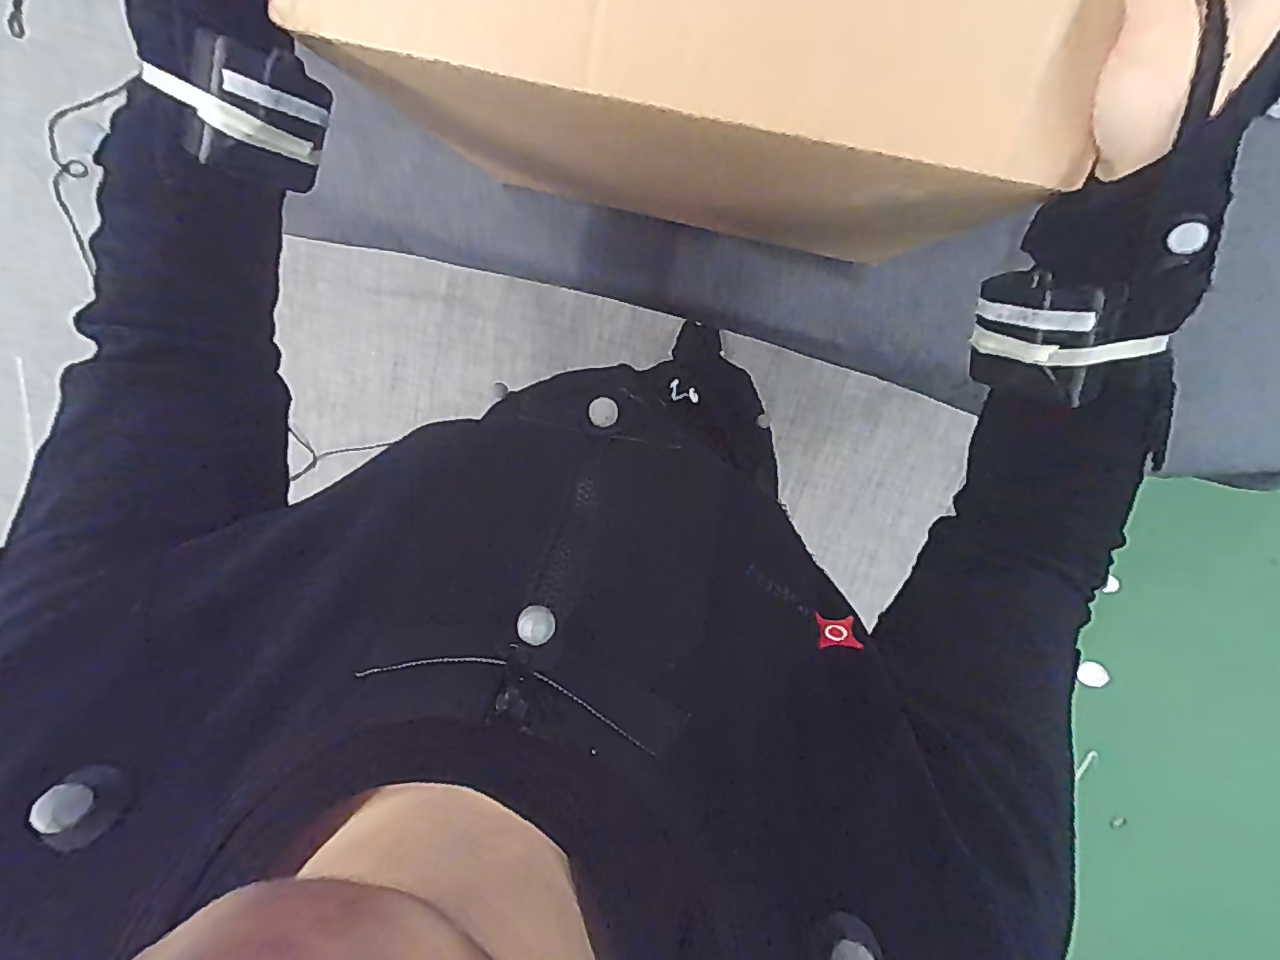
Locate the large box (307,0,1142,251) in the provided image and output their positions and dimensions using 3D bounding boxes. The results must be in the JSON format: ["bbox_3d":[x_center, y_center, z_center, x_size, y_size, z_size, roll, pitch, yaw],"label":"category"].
[{"bbox_3d":[0.062,-0.375,0.372,0.408,0.320,0.320,13,107,1],"label":"large box"}]
